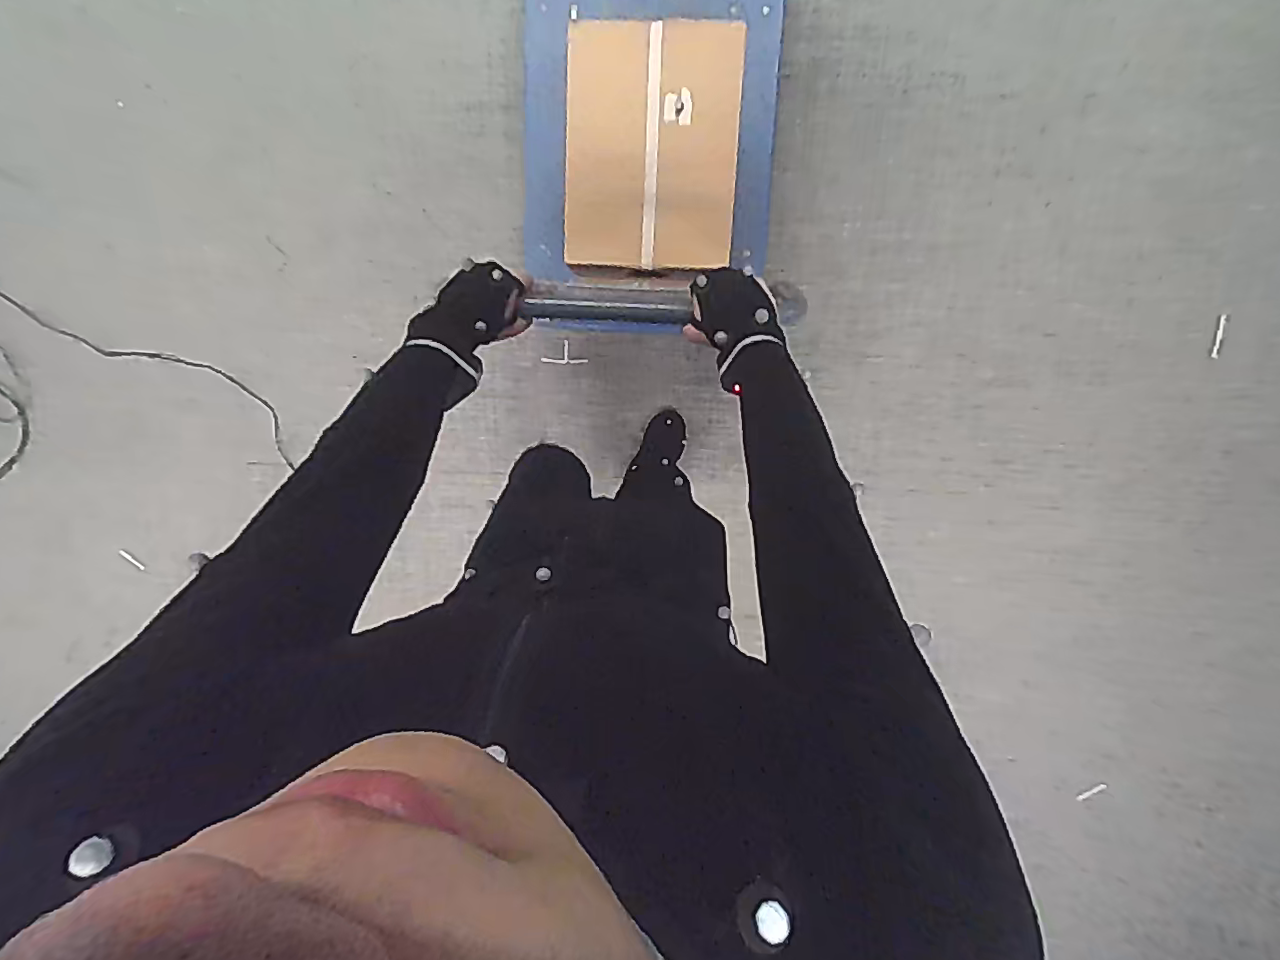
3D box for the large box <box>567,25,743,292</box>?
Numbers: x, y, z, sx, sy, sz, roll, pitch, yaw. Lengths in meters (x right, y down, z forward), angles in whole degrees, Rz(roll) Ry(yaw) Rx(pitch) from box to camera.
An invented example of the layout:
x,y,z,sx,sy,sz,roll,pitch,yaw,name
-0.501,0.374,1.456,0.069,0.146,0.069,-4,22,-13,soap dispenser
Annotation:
x,y,z,sx,sy,sz,roll,pitch,yaw,name
0.031,-0.625,1.129,0.320,0.320,0.408,3,101,2,large box
